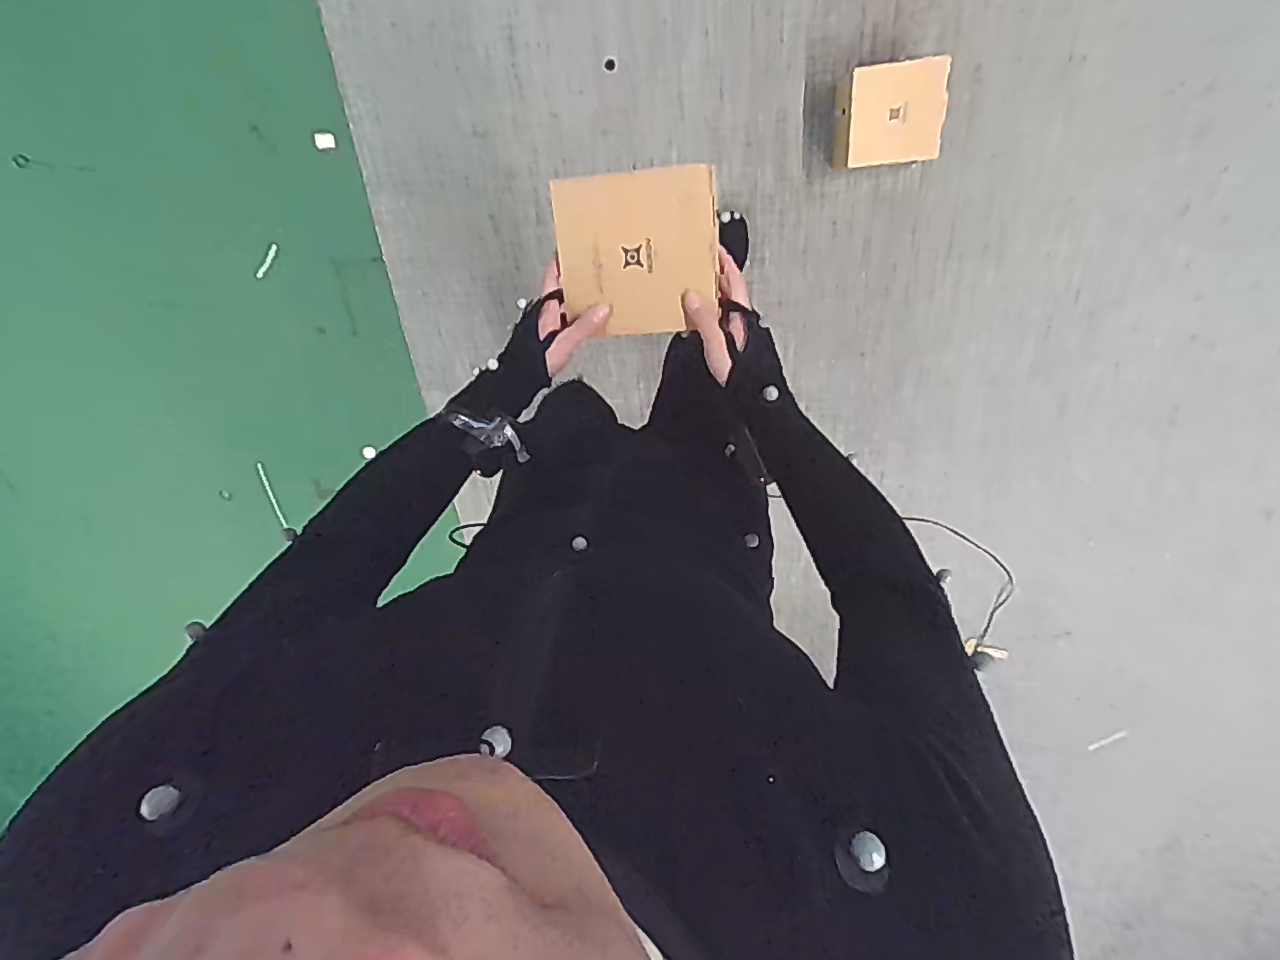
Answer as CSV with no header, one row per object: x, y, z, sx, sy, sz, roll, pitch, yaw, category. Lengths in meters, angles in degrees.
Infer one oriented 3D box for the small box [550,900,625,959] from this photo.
-0.131,1.216,1.387,0.179,0.176,0.168,2,119,5,small box

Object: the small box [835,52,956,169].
0.503,-0.737,1.096,0.179,0.176,0.168,-2,117,8,small box

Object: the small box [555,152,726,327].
0.012,-0.280,0.647,0.179,0.176,0.168,0,111,9,small box
